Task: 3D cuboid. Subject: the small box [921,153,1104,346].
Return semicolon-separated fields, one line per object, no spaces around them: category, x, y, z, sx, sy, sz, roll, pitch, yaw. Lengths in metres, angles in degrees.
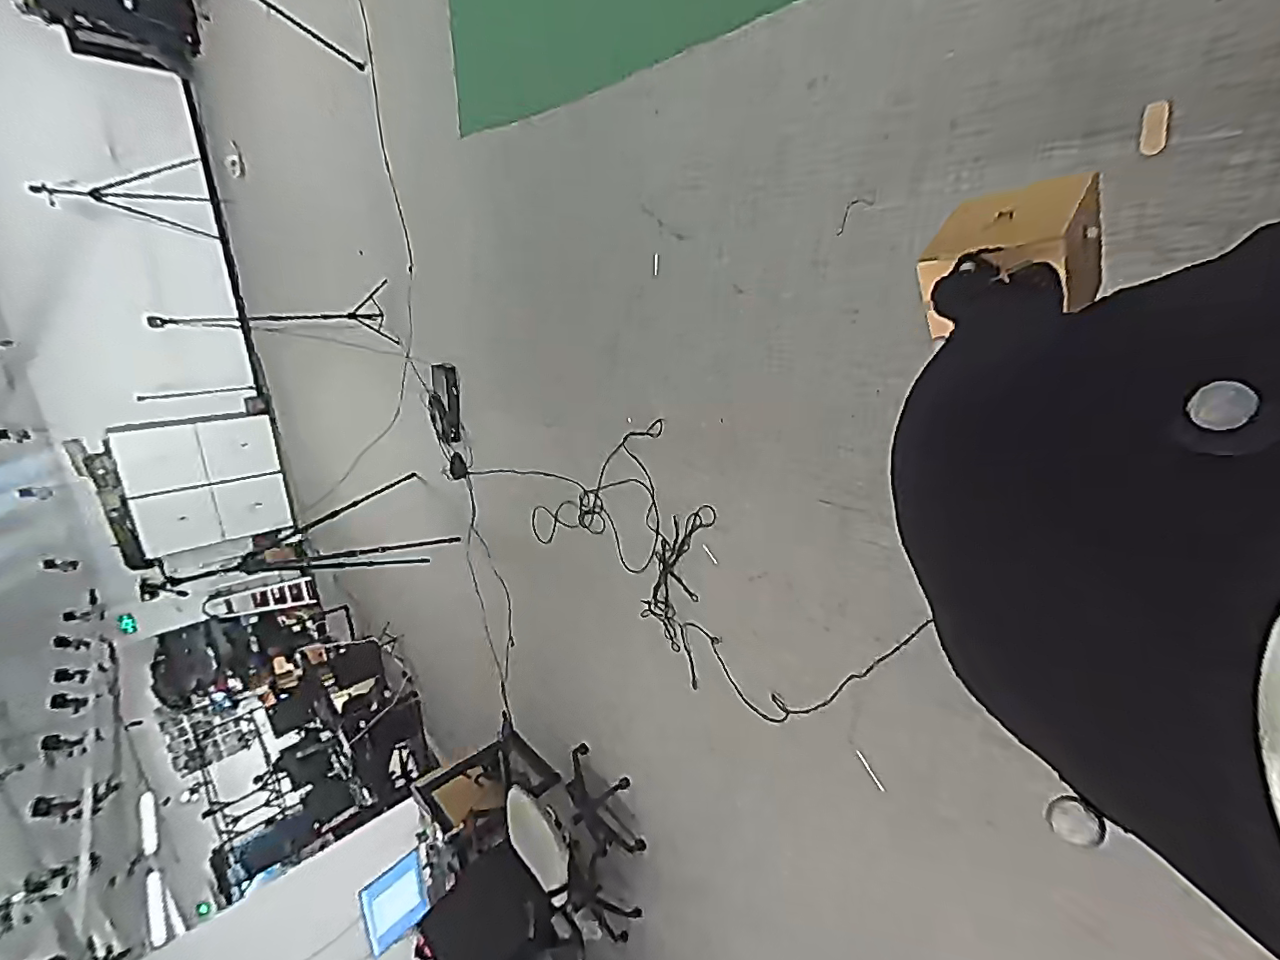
small box;0.522;-0.309;0.755;0.168;0.179;0.176;11;145;48
